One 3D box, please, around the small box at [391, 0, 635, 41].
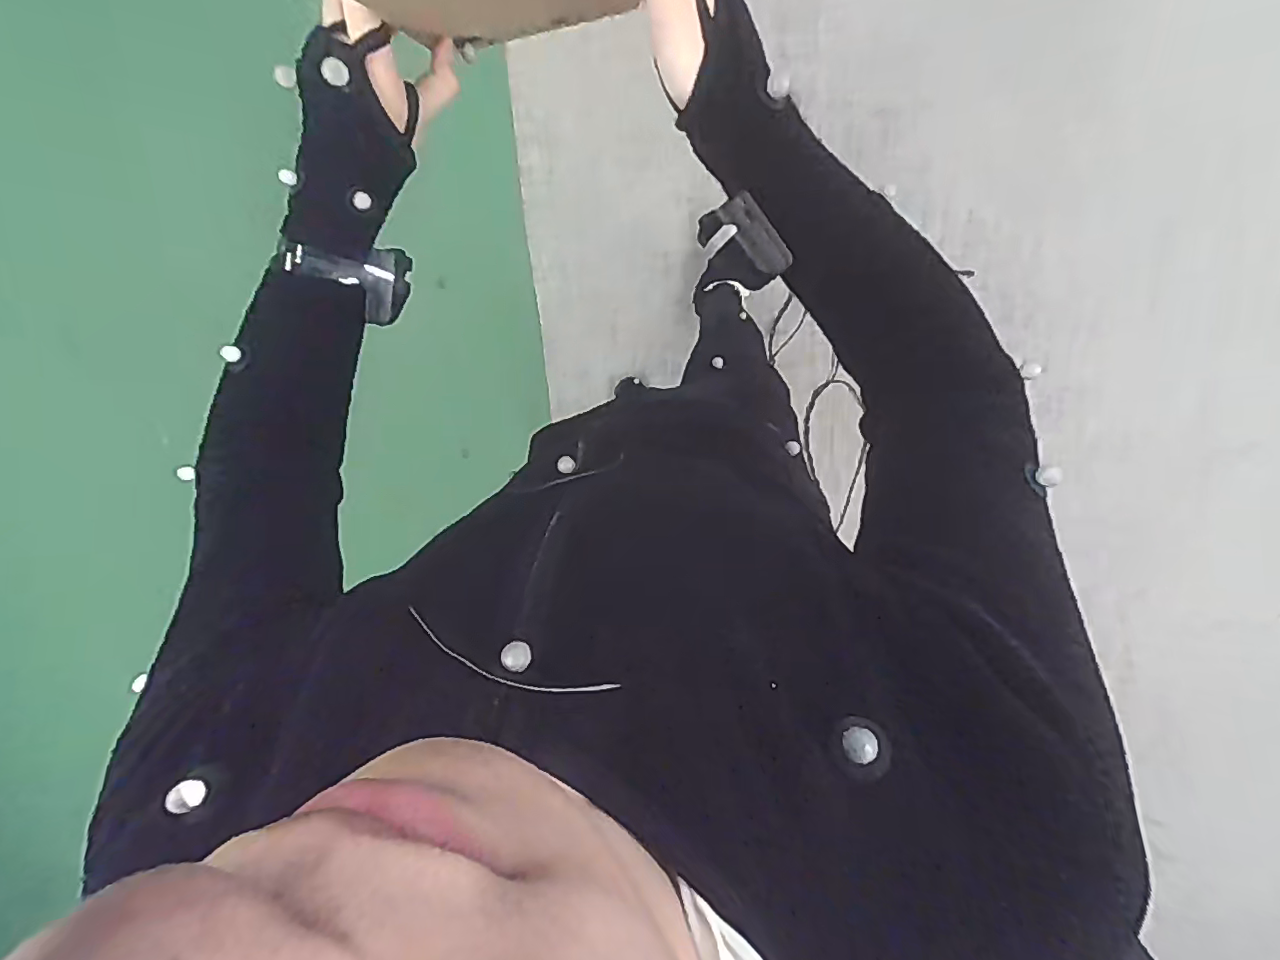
[{"bbox_3d":[-0.094,-0.400,0.325,0.168,0.176,0.179,-8,113,6],"label":"small box"}]
